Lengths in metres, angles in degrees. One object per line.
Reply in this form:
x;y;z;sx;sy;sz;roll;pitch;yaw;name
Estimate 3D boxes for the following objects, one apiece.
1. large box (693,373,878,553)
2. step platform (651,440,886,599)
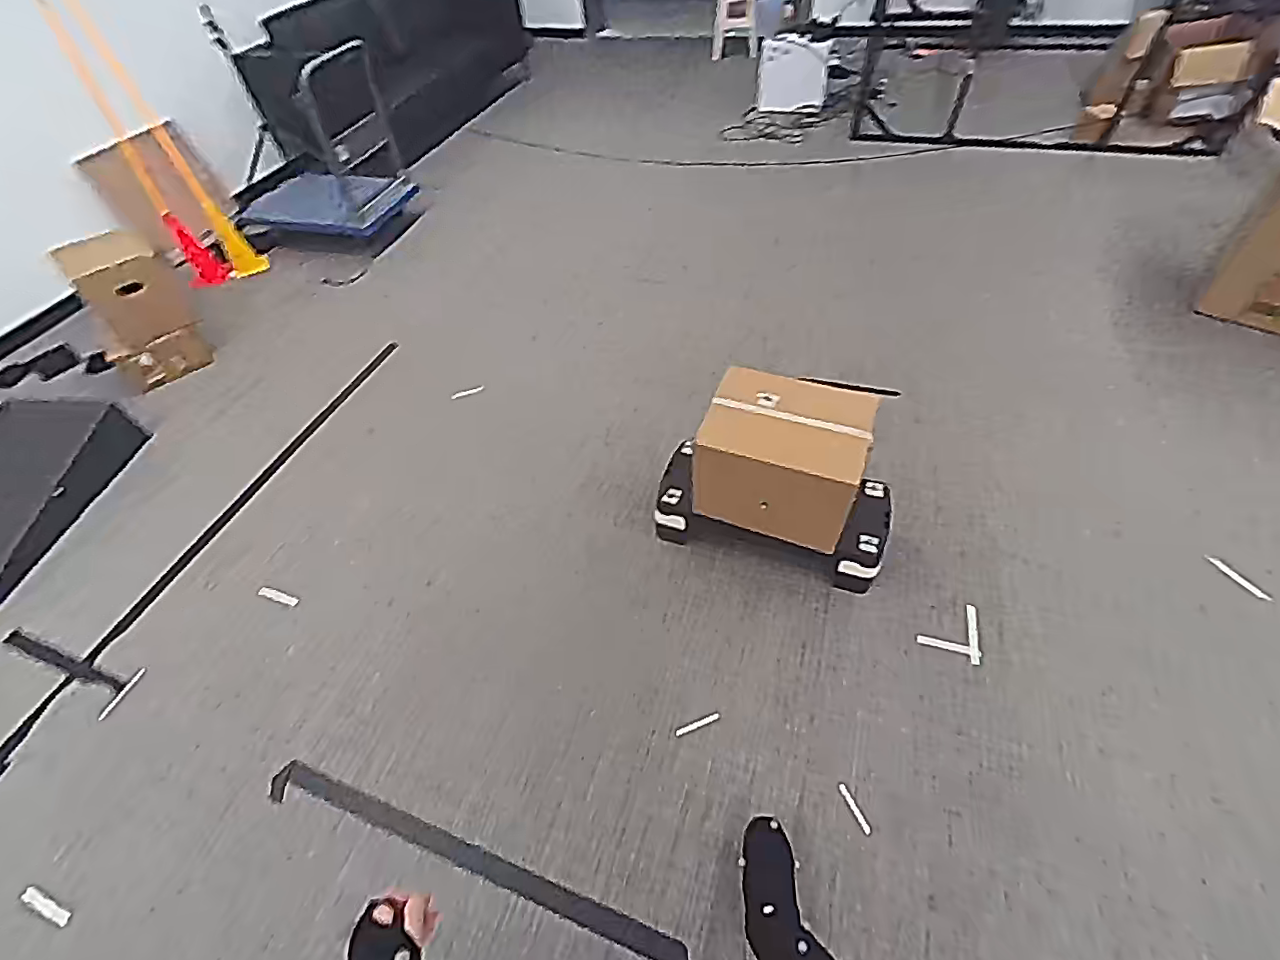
0.387;-0.048;1.472;0.408;0.320;0.320;15;53;19;large box
0.381;0.099;1.662;0.684;0.204;0.286;17;55;20;step platform
